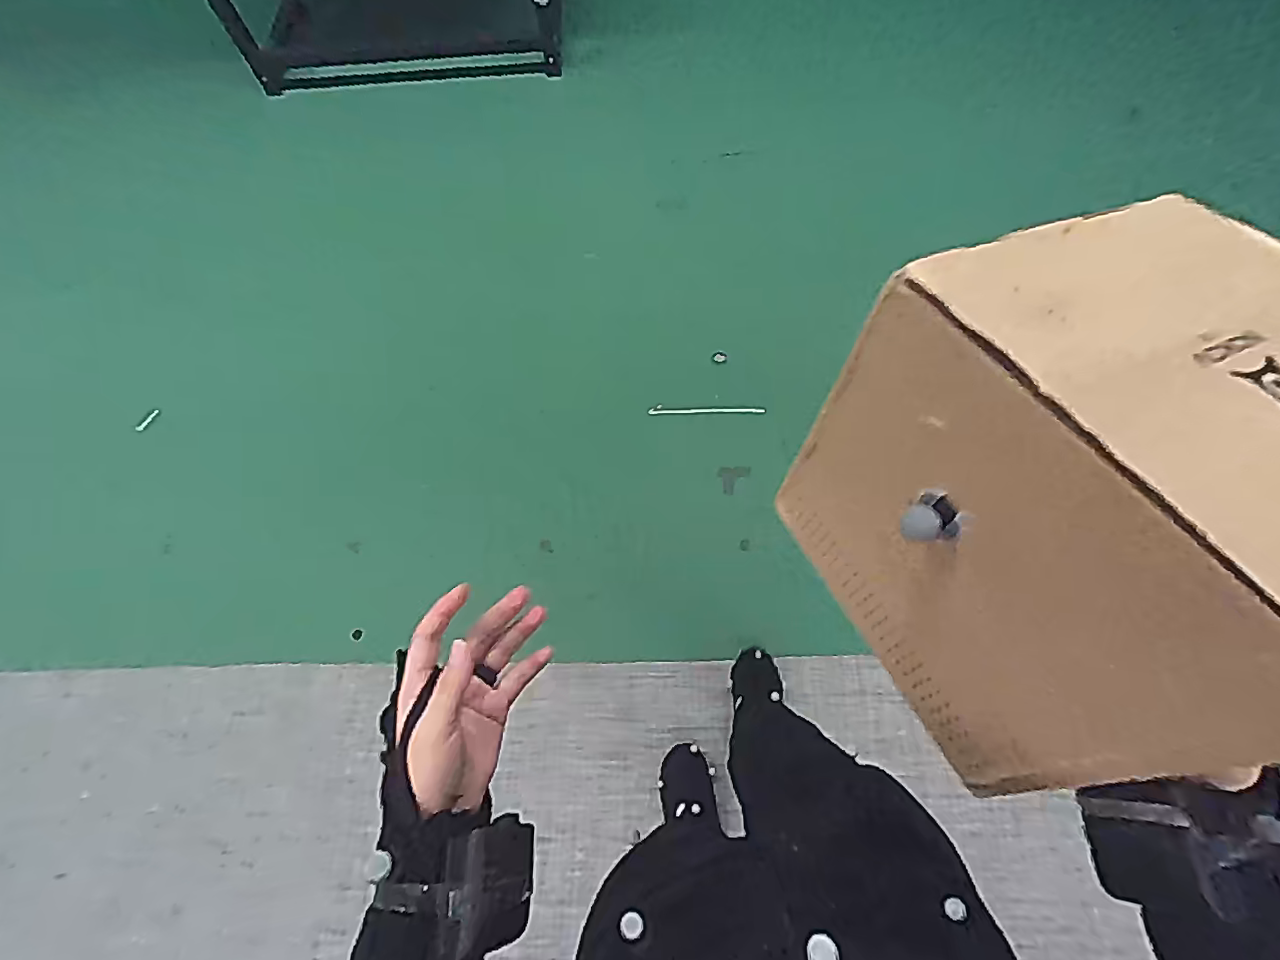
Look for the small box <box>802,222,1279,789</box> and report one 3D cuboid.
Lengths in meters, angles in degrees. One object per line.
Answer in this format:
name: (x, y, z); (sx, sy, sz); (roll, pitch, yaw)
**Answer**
small box: (0.205, 0.015, 0.253); (0.168, 0.176, 0.179); (-19, 59, -16)
